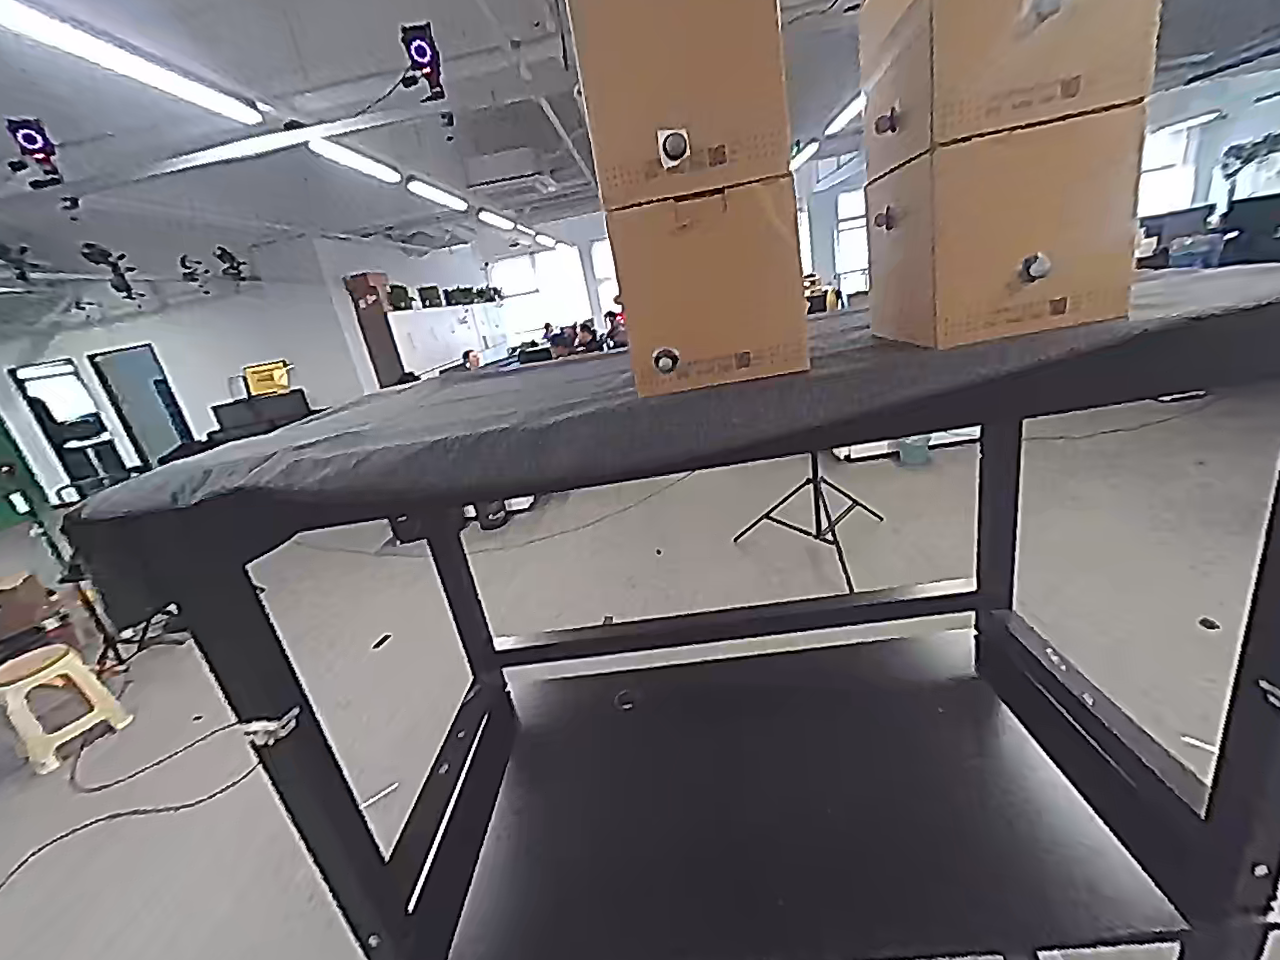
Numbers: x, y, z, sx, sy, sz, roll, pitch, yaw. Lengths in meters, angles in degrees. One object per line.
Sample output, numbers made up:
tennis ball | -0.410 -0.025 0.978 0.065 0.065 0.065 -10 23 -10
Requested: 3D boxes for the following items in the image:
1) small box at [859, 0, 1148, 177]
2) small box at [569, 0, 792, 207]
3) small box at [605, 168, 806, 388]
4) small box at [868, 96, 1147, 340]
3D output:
small box | 0.310 -0.392 0.485 0.168 0.176 0.179 -8 19 7
small box | 0.041 -0.349 0.514 0.168 0.176 0.179 -9 18 7
small box | 0.068 -0.196 0.562 0.168 0.176 0.179 -9 17 6
small box | 0.338 -0.238 0.536 0.168 0.176 0.179 -10 18 7
